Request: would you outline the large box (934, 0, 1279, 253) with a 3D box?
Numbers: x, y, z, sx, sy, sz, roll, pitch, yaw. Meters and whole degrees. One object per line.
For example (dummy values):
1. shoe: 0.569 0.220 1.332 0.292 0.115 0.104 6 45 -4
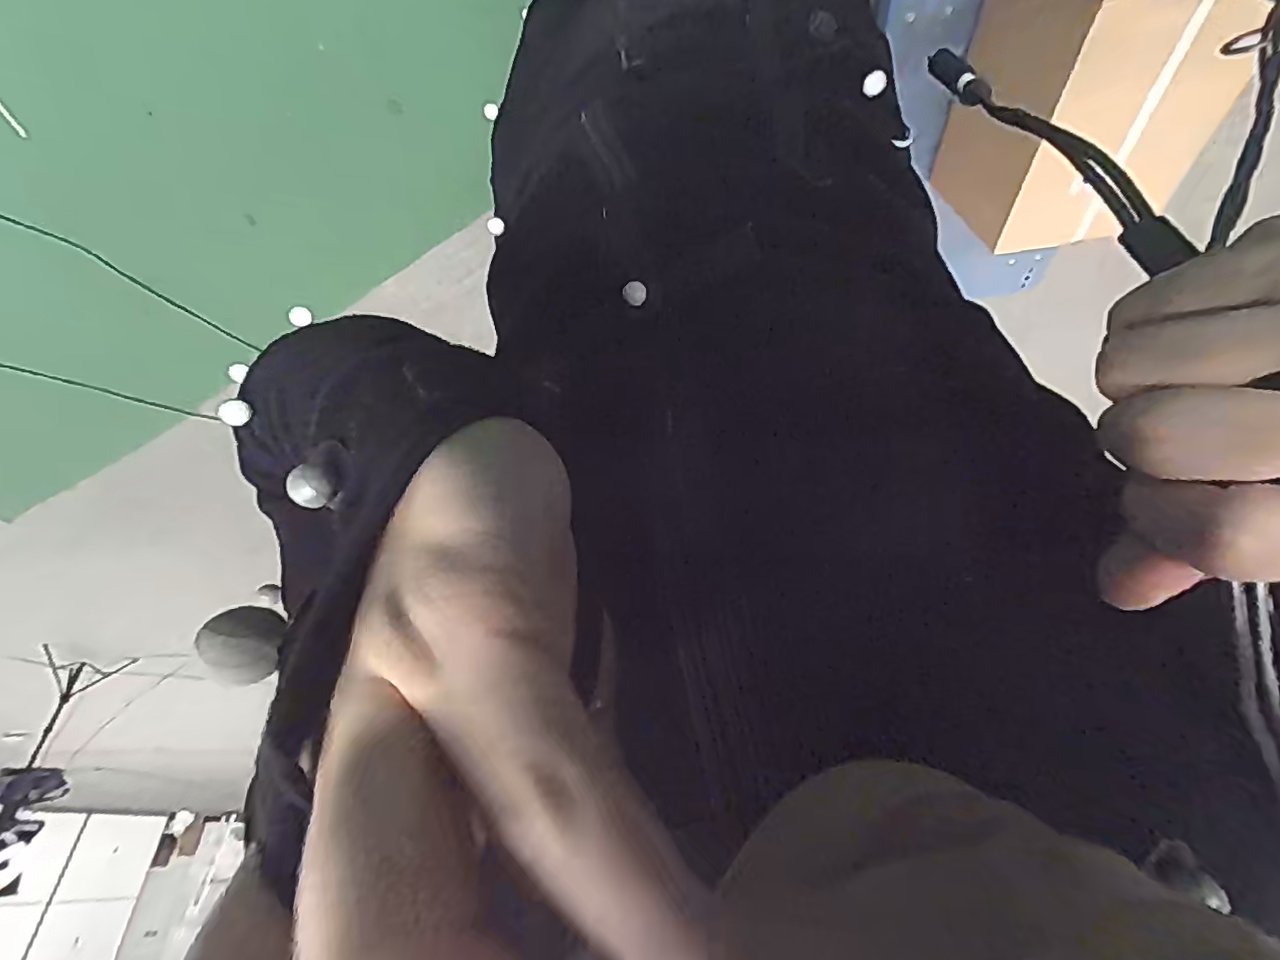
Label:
1. large box: 0.817 -0.712 1.005 0.320 0.320 0.408 -8 144 3
